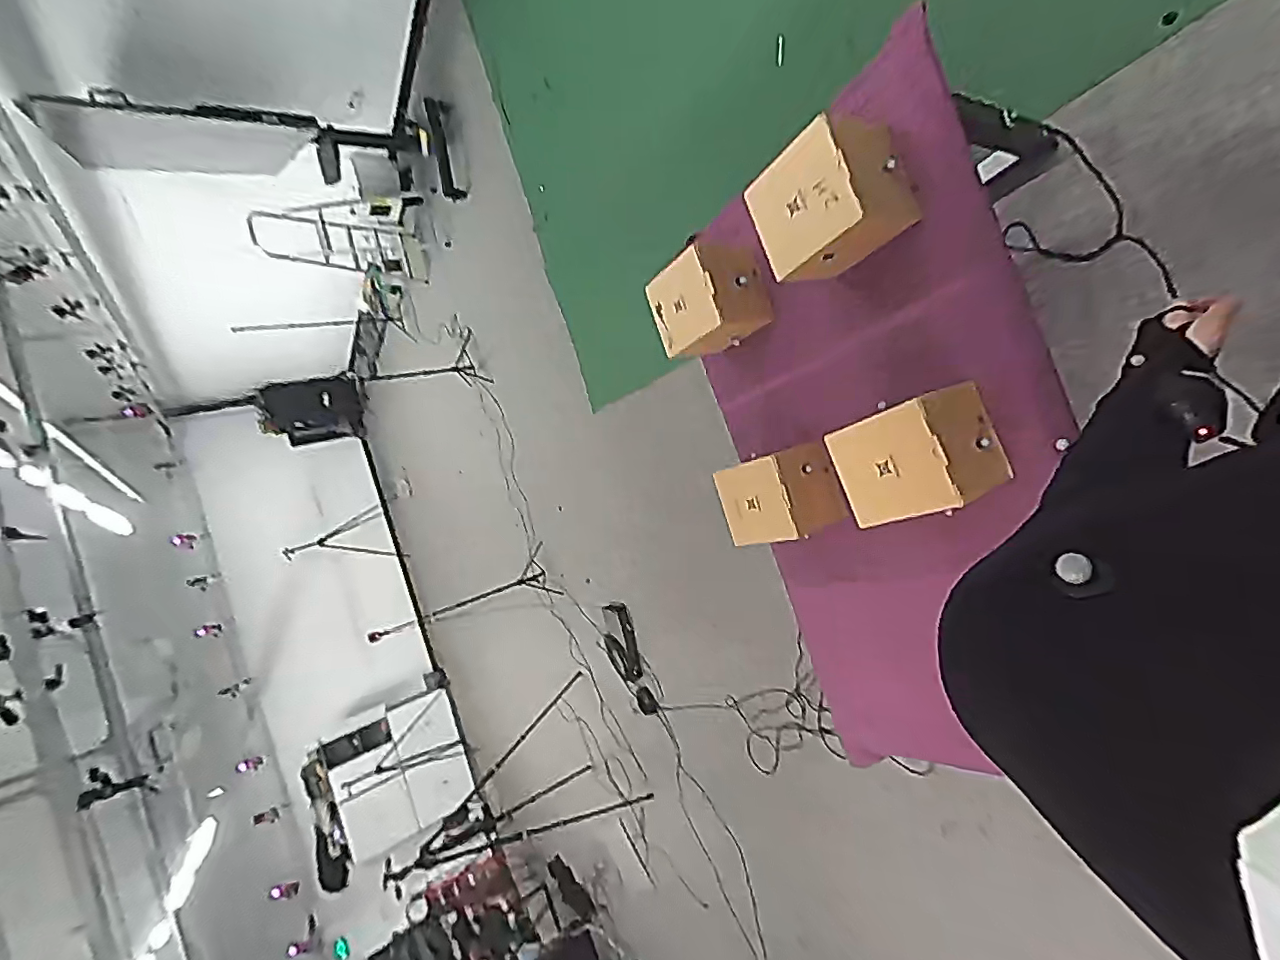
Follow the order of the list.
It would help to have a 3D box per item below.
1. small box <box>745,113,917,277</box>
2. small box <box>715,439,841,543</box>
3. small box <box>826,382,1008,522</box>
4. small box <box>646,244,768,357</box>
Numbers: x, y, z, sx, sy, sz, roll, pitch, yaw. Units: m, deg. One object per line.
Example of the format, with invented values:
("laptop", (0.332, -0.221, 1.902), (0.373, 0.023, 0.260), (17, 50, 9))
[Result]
("small box", (0.311, -0.454, 0.886), (0.179, 0.176, 0.168), (-24, 85, 56))
("small box", (0.291, 0.023, 1.122), (0.179, 0.176, 0.168), (-19, 88, 55))
("small box", (0.446, -0.044, 0.877), (0.179, 0.176, 0.168), (-28, 80, 55))
("small box", (0.149, -0.379, 1.147), (0.179, 0.176, 0.168), (-21, 86, 53))
